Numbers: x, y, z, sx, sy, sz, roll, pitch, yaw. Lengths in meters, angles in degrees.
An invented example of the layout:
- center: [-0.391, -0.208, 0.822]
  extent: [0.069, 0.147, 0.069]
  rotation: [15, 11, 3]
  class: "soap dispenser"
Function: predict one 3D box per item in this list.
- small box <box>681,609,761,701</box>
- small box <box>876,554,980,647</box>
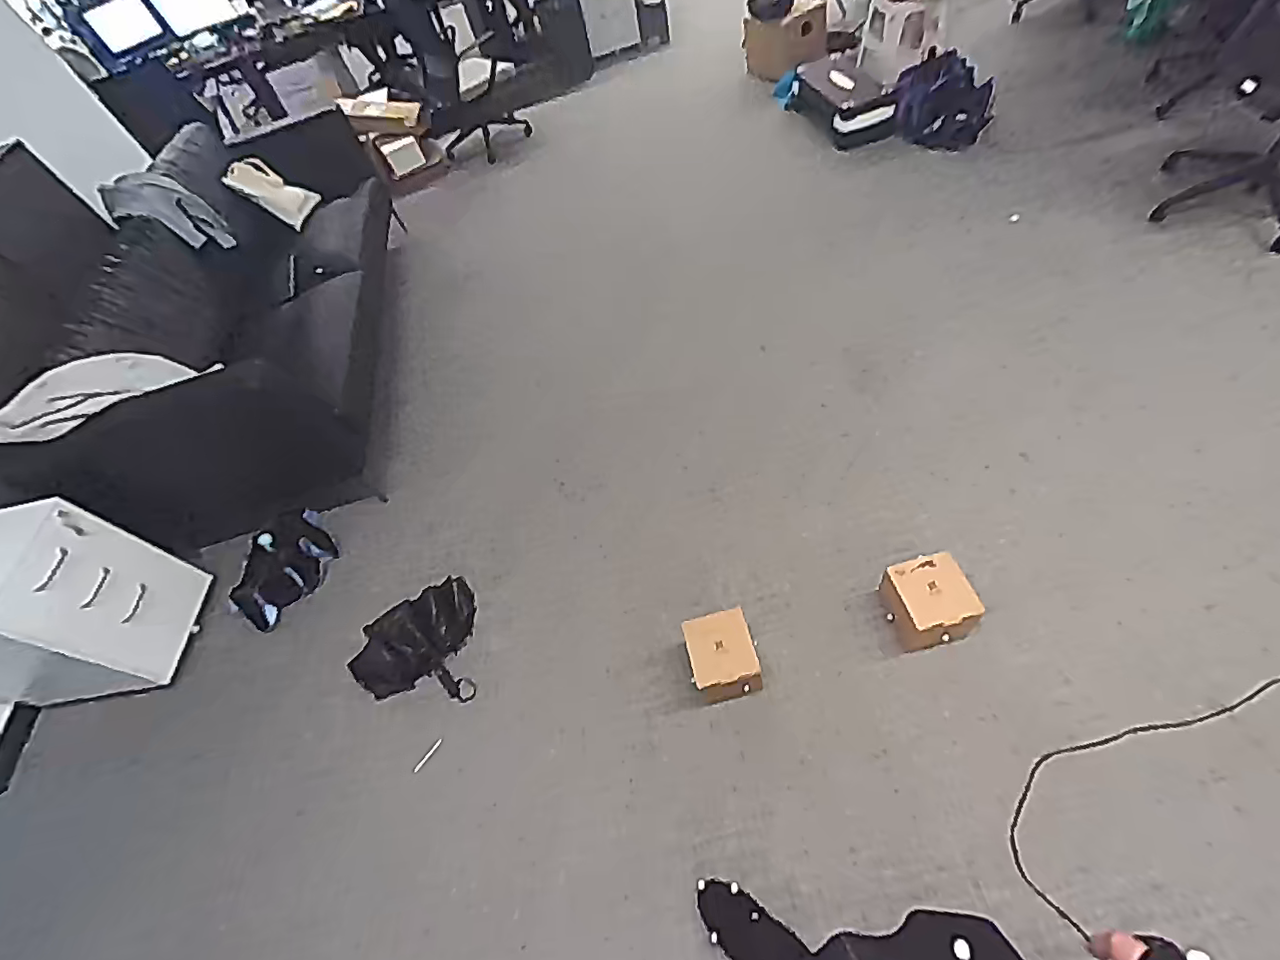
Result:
- center: [0.219, 0.476, 1.446]
  extent: [0.168, 0.176, 0.179]
  rotation: [-16, 51, 2]
  class: "small box"
- center: [0.742, 0.323, 1.414]
  extent: [0.168, 0.176, 0.179]
  rotation: [-16, 53, 3]
  class: "small box"
